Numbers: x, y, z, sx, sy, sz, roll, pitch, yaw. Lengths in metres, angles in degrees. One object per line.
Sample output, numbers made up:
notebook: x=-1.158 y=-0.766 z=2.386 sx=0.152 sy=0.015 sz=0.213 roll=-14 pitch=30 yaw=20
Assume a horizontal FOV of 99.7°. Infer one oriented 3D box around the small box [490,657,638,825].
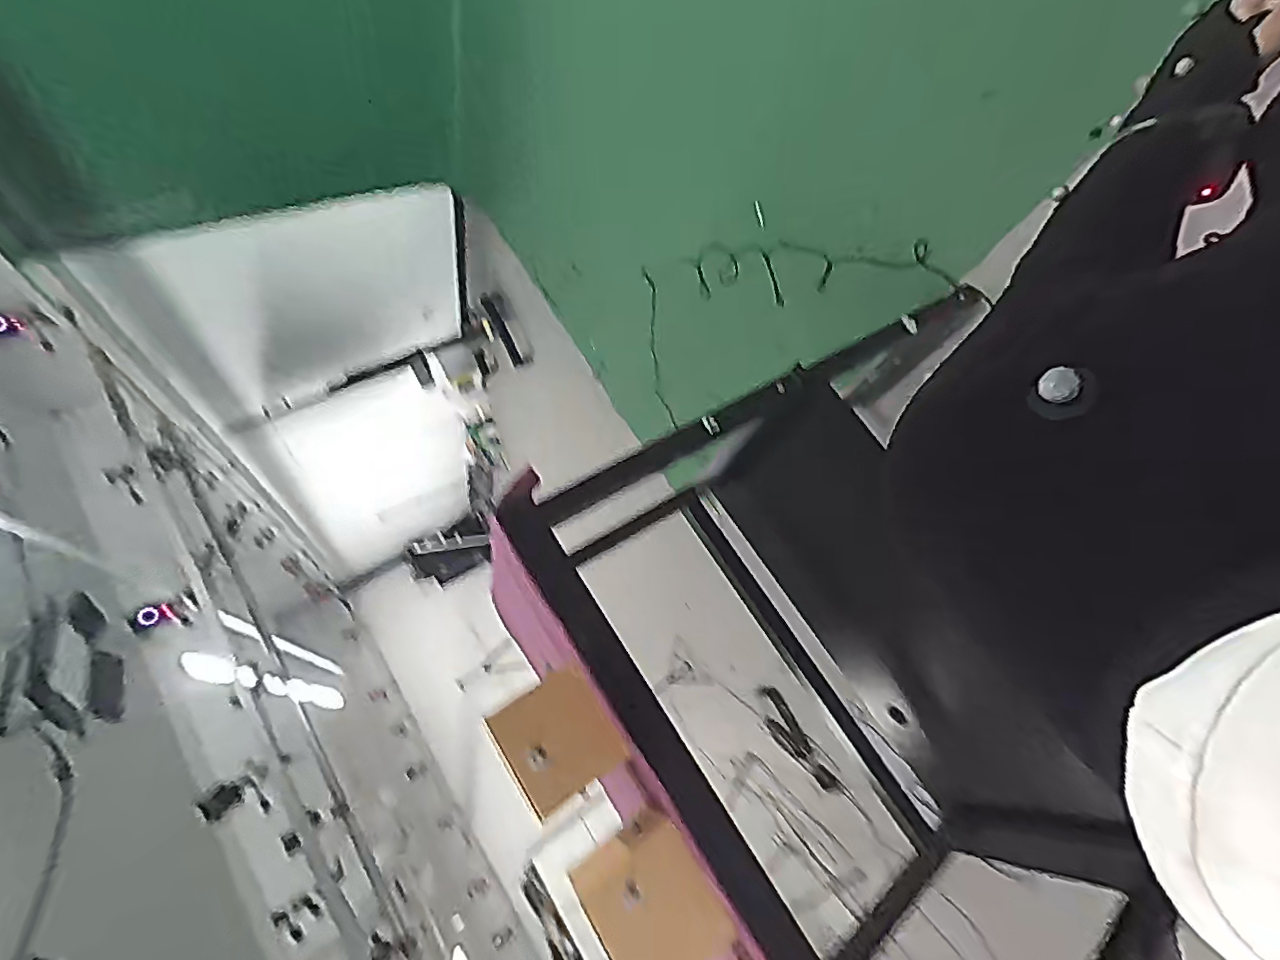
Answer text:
small box: x=-0.128 y=0.421 z=0.894 sx=0.179 sy=0.176 sz=0.168 roll=56 pitch=153 yaw=12
